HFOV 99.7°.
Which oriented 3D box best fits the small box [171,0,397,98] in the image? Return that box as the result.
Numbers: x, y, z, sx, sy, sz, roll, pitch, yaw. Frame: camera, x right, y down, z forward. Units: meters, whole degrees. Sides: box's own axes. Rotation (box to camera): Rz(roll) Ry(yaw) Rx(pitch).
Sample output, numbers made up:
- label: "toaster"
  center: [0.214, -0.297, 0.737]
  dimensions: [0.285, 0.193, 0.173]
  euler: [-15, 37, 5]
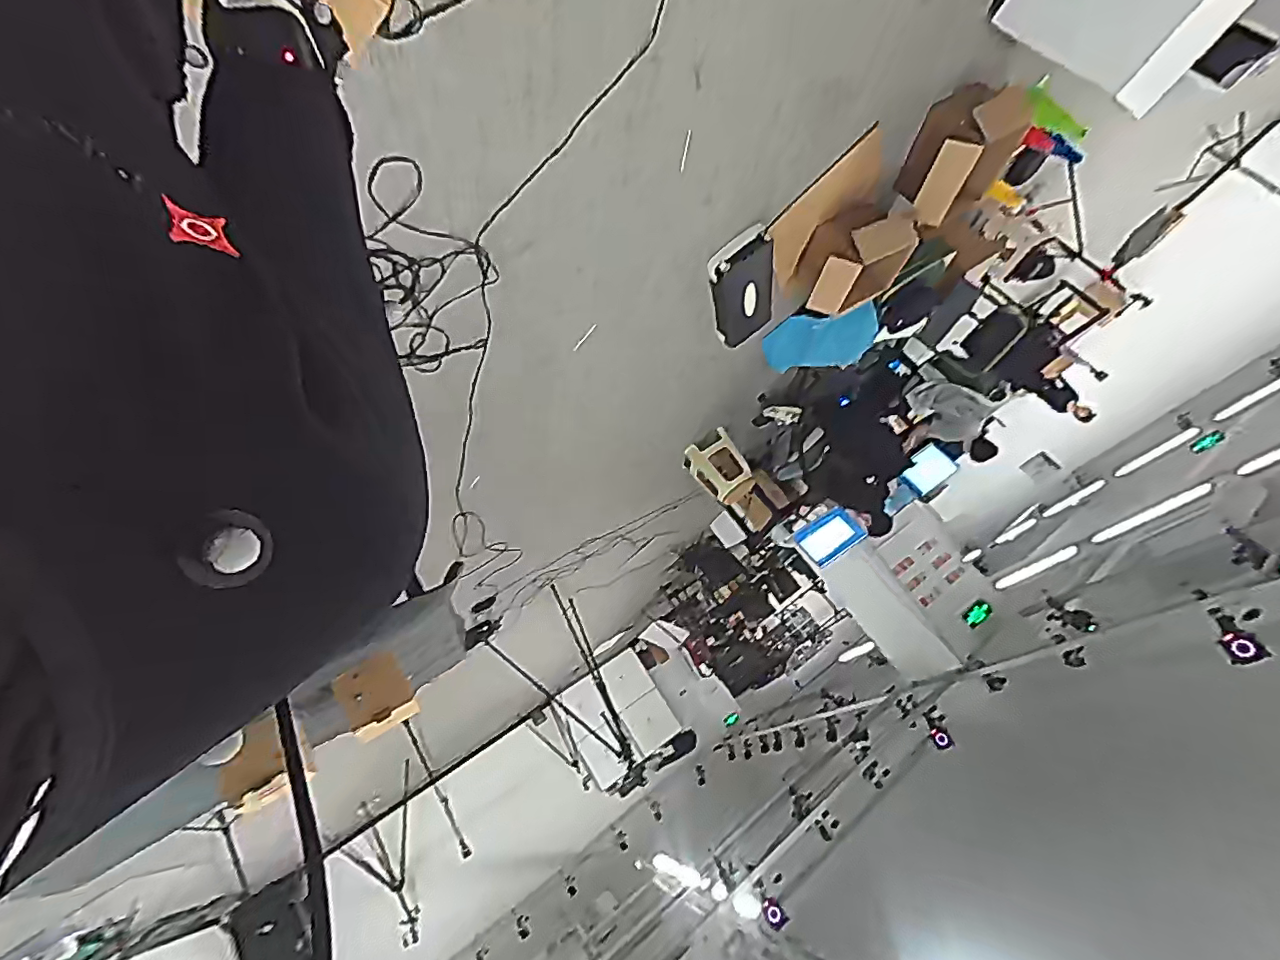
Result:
- label: "small box"
  center: [-0.335, -0.527, 0.512]
  dimensions: [0.176, 0.179, 0.168]
  euler: [-7, 164, 41]

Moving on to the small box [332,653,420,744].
- label: "small box"
  center: [-0.750, 0.618, 1.542]
  dimensions: [0.168, 0.176, 0.179]
  euler: [-25, 159, -27]
